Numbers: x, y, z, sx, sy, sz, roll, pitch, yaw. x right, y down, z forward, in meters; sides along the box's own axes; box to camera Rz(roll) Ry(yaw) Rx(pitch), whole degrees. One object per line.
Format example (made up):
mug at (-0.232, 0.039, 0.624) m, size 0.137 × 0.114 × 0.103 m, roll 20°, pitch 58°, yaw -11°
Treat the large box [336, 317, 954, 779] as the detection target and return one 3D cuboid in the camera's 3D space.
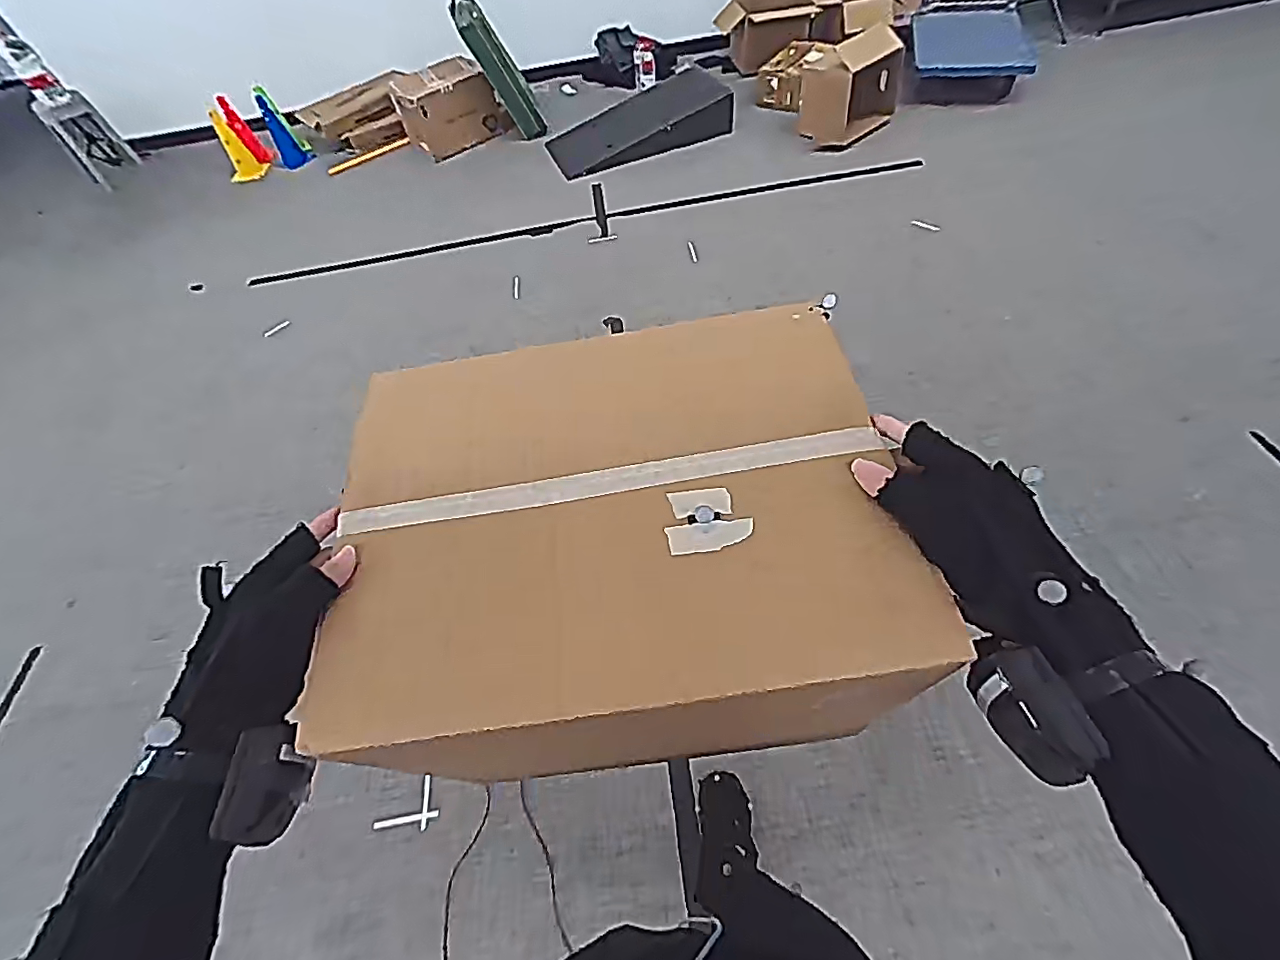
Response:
large box at (-0.003, 0.087, 0.542) m, size 0.408 × 0.320 × 0.320 m, roll -9°, pitch 57°, yaw 1°
